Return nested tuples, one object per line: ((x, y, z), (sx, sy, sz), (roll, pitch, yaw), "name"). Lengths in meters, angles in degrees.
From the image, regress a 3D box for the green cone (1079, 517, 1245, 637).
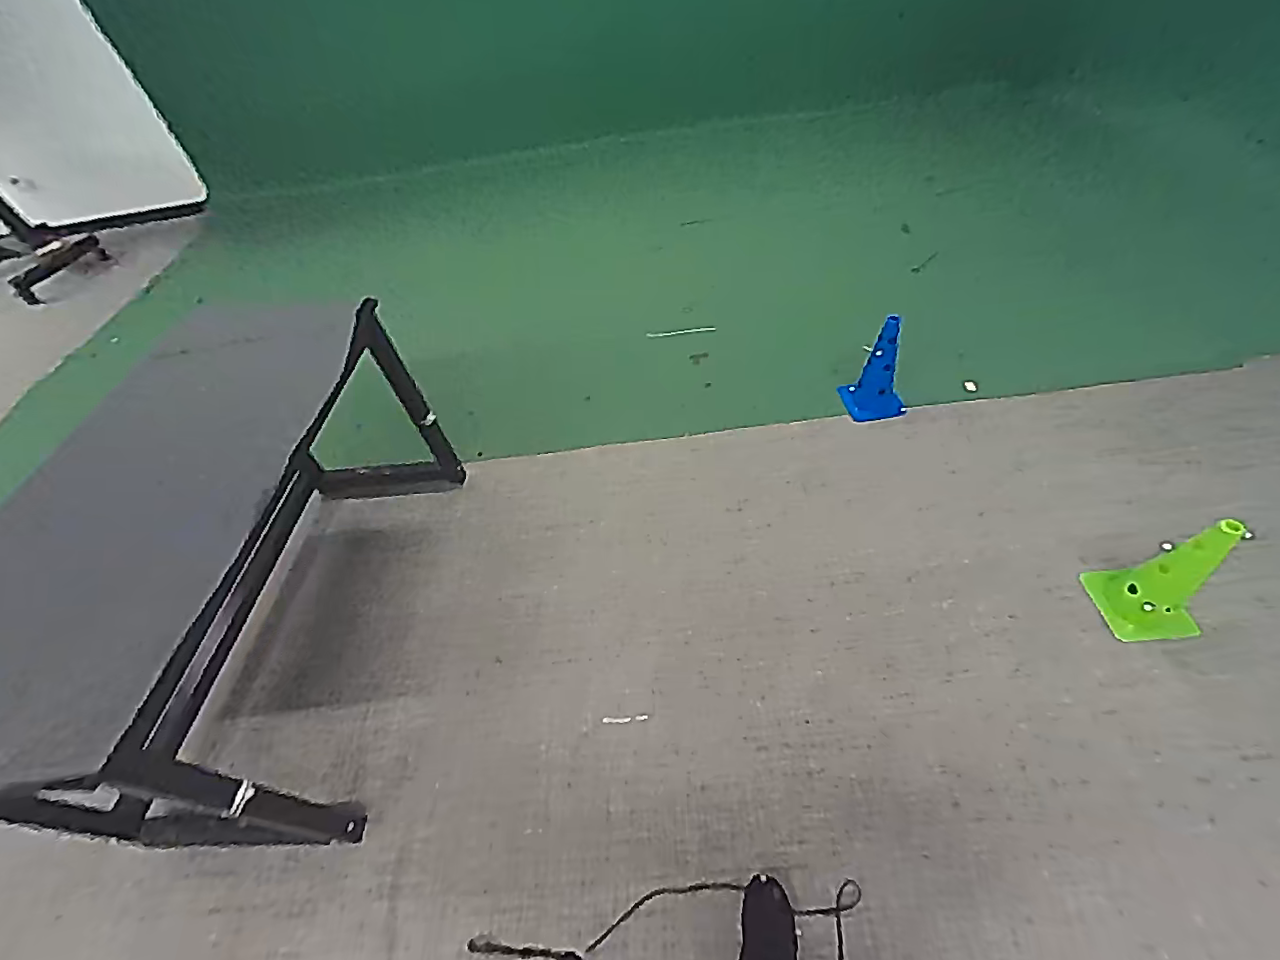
((1.275, 0.202, 1.284), (0.200, 0.368, 0.202), (-7, 50, 3), "green cone")
